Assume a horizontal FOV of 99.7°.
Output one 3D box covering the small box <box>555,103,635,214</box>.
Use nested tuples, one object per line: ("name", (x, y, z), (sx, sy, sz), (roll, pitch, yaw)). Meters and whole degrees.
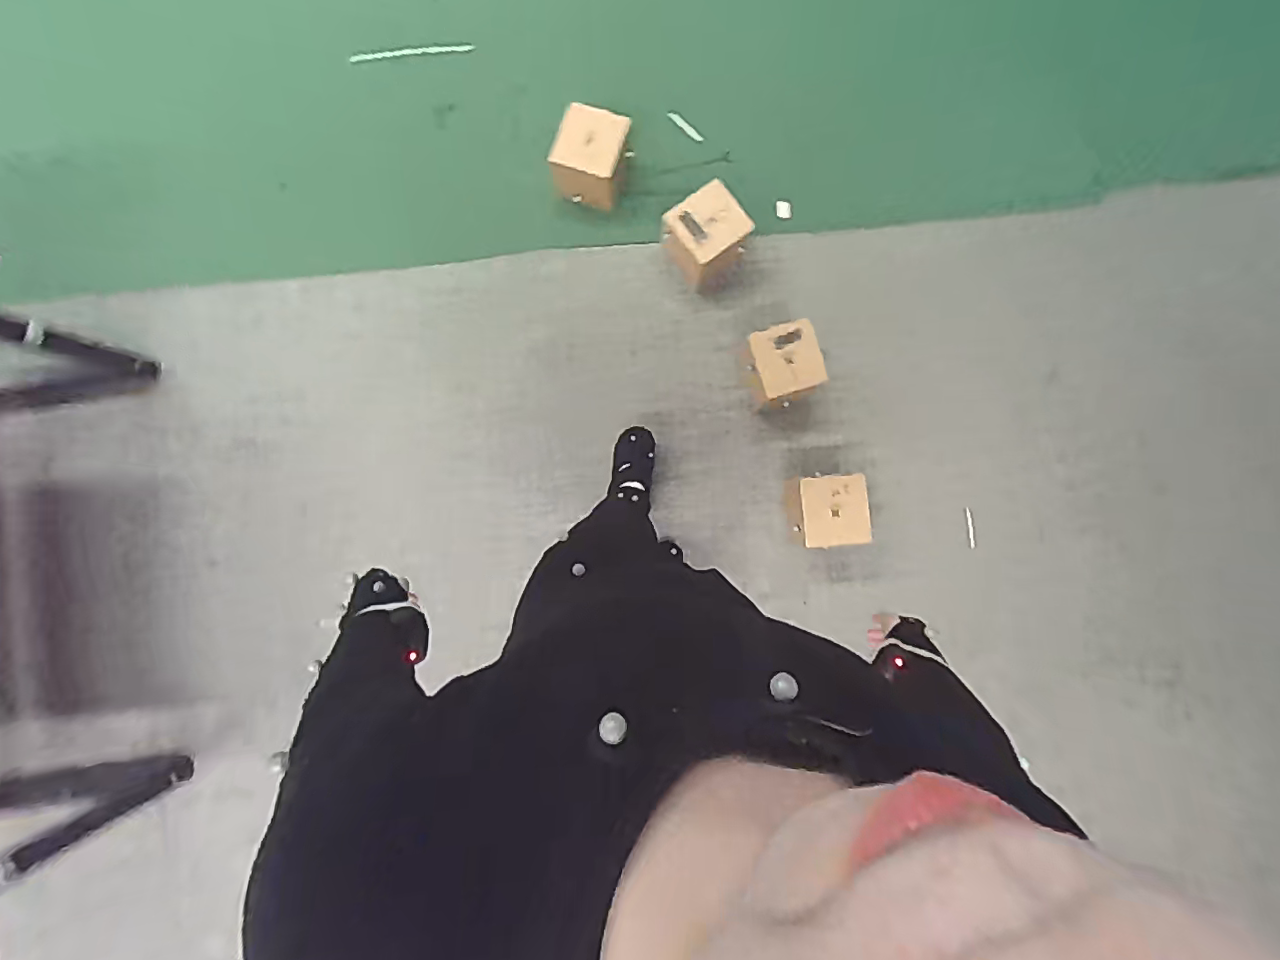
("small box", (-0.120, -0.880, 1.493), (0.168, 0.176, 0.179), (20, 86, 3))

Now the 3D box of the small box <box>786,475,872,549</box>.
("small box", (0.486, 0.083, 1.408), (0.168, 0.176, 0.179), (-4, 86, 0))

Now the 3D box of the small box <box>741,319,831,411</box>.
("small box", (0.379, -0.299, 1.438), (0.168, 0.176, 0.179), (-16, 86, 0))
